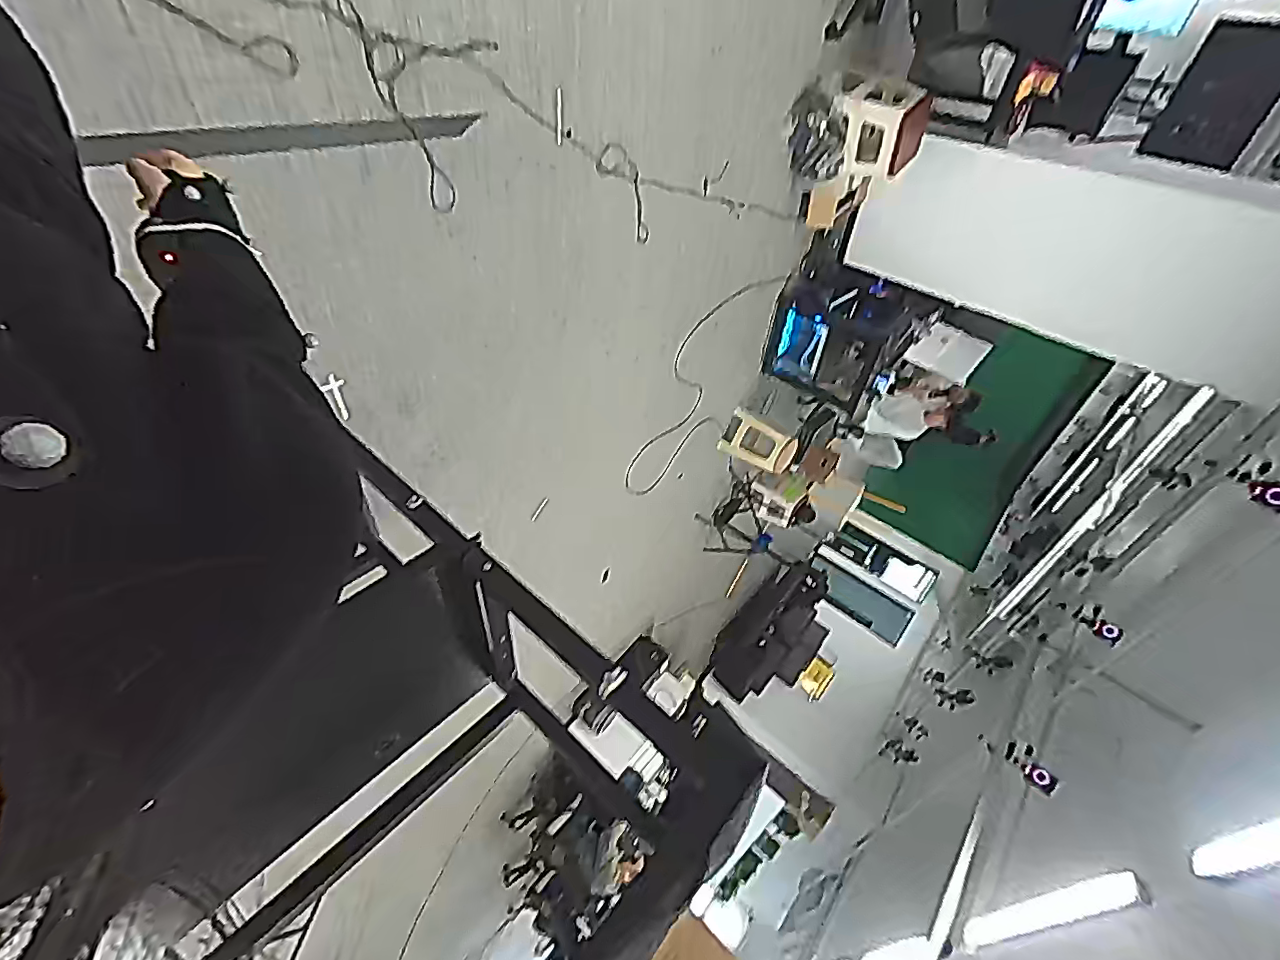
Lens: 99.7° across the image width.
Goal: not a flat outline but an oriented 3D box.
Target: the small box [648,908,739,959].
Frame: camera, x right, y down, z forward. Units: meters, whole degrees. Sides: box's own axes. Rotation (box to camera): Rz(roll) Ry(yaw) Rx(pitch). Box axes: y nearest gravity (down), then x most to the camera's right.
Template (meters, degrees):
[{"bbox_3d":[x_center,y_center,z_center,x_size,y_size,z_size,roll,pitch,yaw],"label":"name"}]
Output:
[{"bbox_3d":[0.073,0.763,0.773,0.168,0.176,0.179,-35,147,-35],"label":"small box"}]
